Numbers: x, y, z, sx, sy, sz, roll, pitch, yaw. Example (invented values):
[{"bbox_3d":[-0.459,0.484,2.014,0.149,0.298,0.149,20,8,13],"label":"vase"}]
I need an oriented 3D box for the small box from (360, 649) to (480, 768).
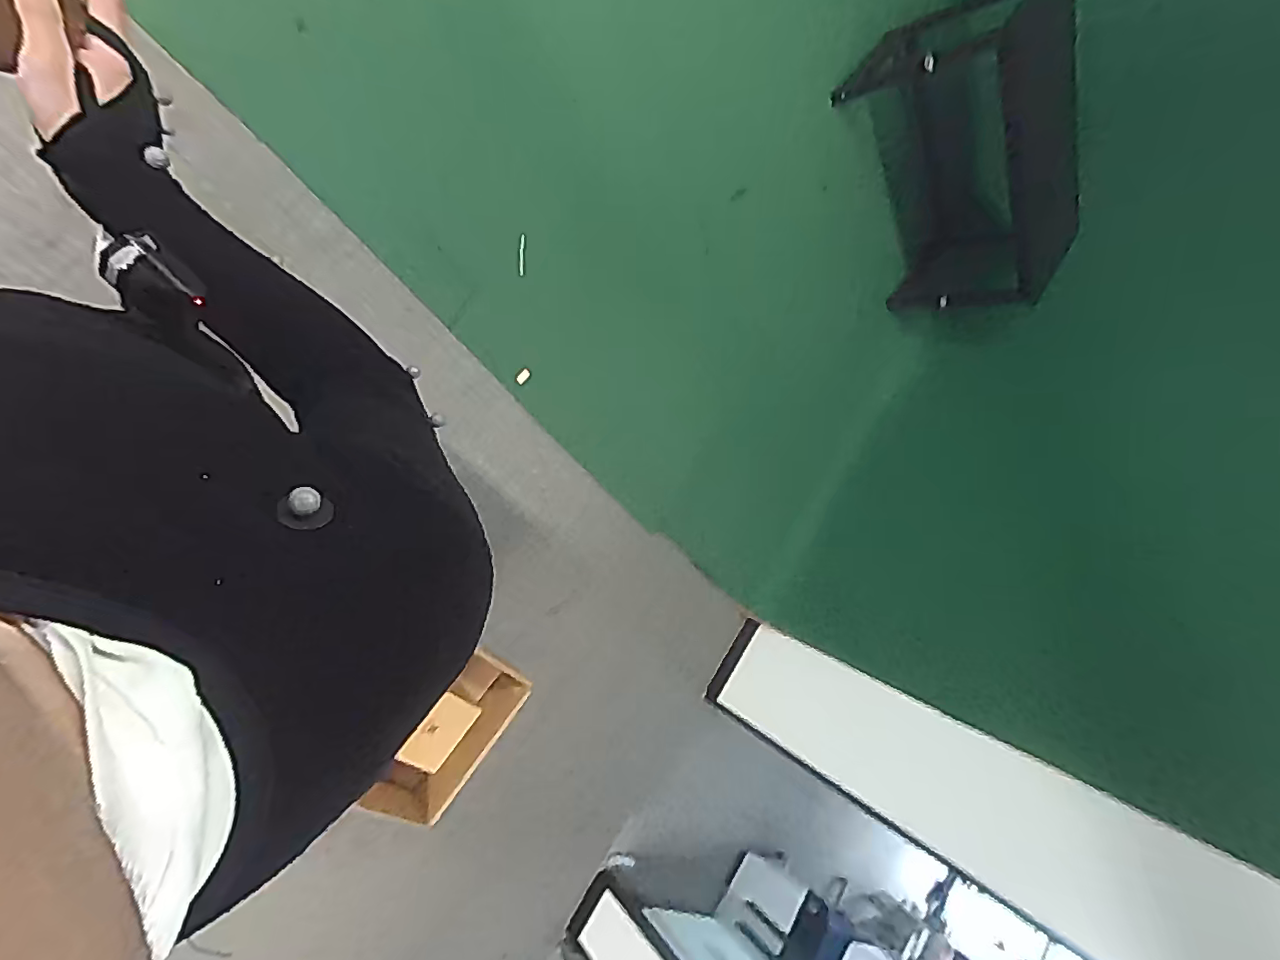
[{"bbox_3d":[-0.513,0.524,1.255,0.168,0.176,0.179,-52,127,-15],"label":"small box"}]
